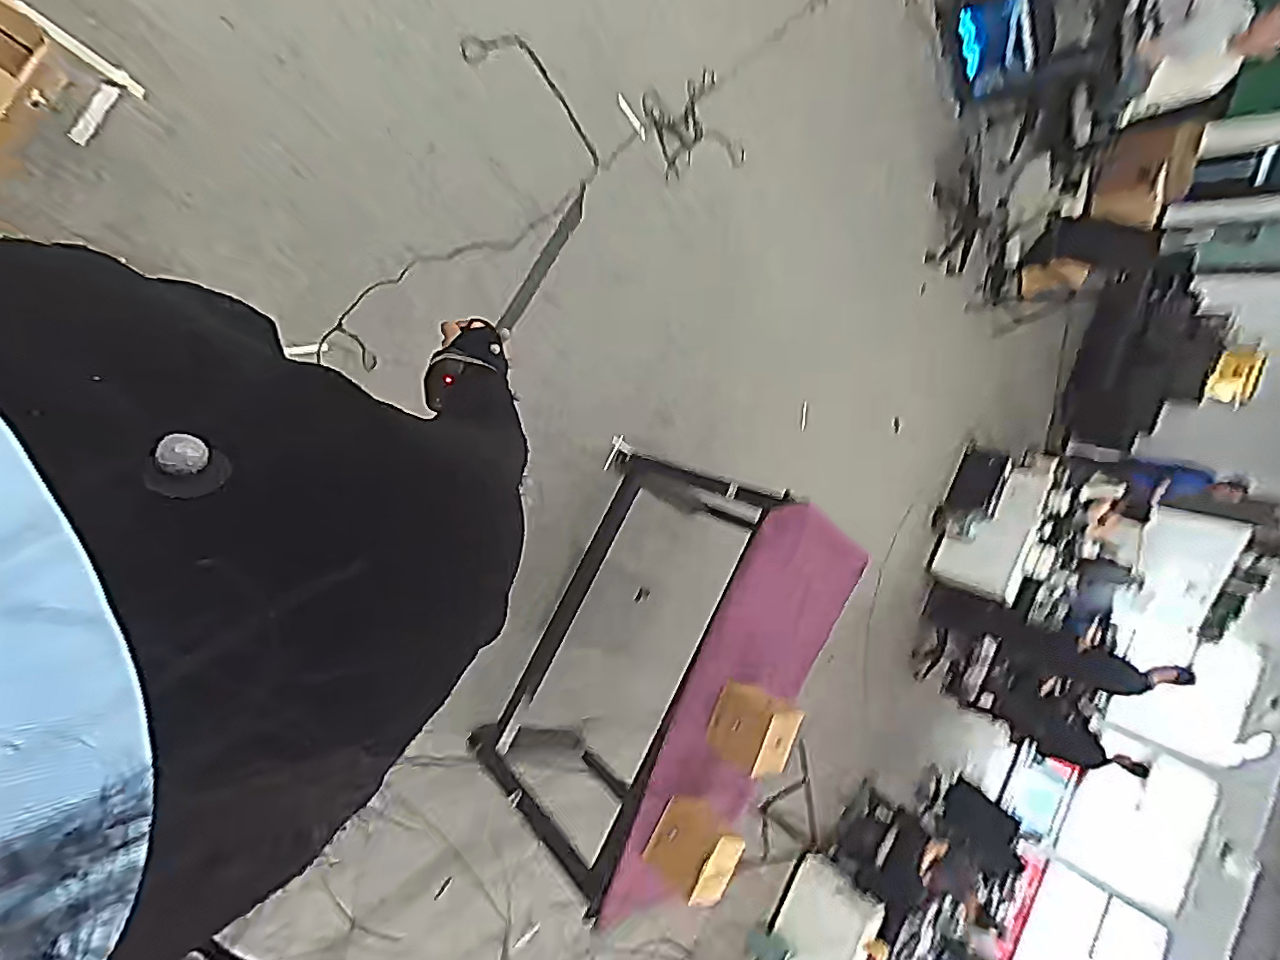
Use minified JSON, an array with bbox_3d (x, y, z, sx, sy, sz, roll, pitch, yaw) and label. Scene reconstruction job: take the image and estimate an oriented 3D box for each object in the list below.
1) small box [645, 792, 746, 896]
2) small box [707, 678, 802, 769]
[{"bbox_3d":[0.149,0.966,1.447,0.179,0.176,0.168,41,75,-44],"label":"small box"},{"bbox_3d":[0.314,0.668,1.501,0.179,0.176,0.168,22,89,-45],"label":"small box"}]
